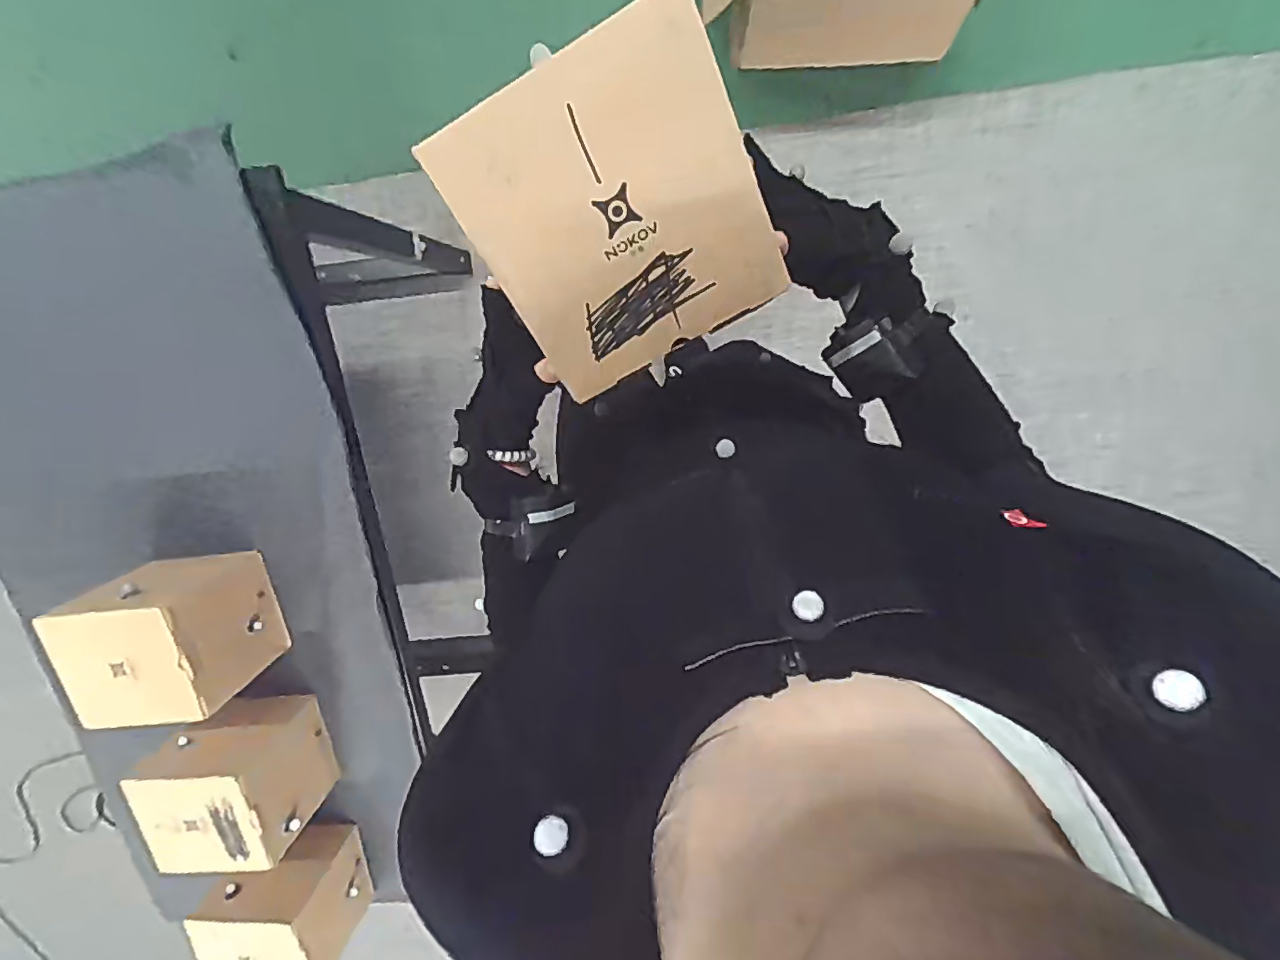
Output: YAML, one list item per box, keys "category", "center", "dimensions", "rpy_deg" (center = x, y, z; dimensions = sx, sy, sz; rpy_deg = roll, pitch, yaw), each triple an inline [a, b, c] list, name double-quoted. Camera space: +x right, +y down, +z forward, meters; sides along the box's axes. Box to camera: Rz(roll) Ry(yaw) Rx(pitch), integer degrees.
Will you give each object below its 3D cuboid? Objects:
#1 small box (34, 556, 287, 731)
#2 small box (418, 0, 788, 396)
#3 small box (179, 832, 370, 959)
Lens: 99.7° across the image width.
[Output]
- category: "small box"
  center: [-0.645, 0.218, 0.752]
  dimensions: [0.179, 0.176, 0.168]
  rpy_deg: [-7, 105, 4]
- category: "small box"
  center: [-0.021, -0.196, 0.387]
  dimensions: [0.168, 0.176, 0.179]
  rpy_deg: [-27, 122, 7]
- category: "small box"
  center: [-0.577, 0.707, 0.878]
  dimensions: [0.179, 0.176, 0.168]
  rpy_deg: [-3, 105, 5]
